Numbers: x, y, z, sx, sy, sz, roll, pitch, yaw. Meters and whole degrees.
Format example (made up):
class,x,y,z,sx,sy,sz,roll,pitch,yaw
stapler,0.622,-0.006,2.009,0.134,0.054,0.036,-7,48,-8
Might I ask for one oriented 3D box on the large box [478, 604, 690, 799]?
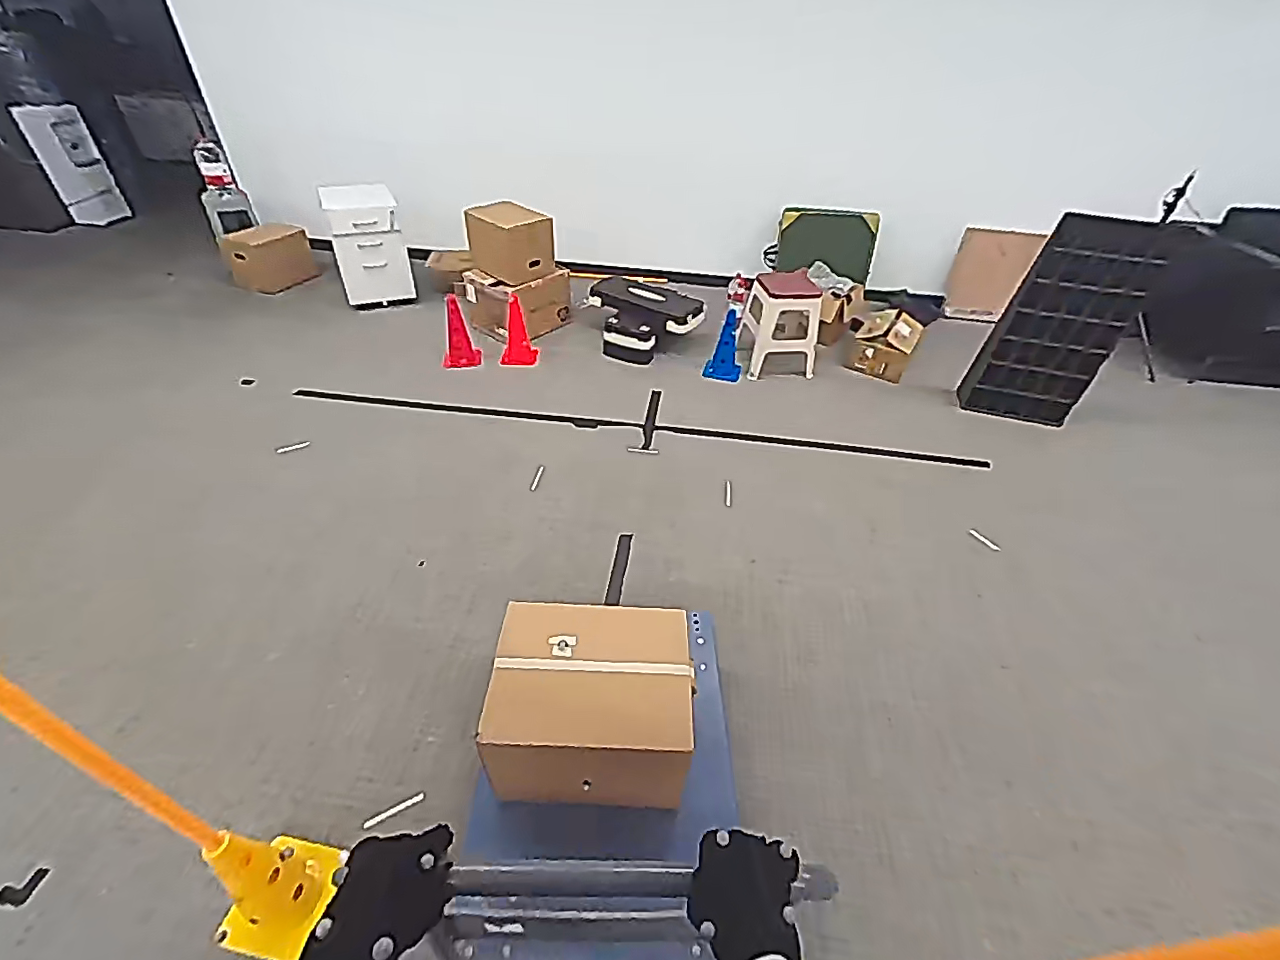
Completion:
class,x,y,z,sx,sy,sz,roll,pitch,yaw
large box,-0.105,0.500,1.217,0.408,0.320,0.320,3,41,0

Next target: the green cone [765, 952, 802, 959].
class,x,y,z,sx,sy,sz,roll,pitch,yaw
green cone,0.354,0.948,0.951,0.202,0.368,0.200,11,41,6
